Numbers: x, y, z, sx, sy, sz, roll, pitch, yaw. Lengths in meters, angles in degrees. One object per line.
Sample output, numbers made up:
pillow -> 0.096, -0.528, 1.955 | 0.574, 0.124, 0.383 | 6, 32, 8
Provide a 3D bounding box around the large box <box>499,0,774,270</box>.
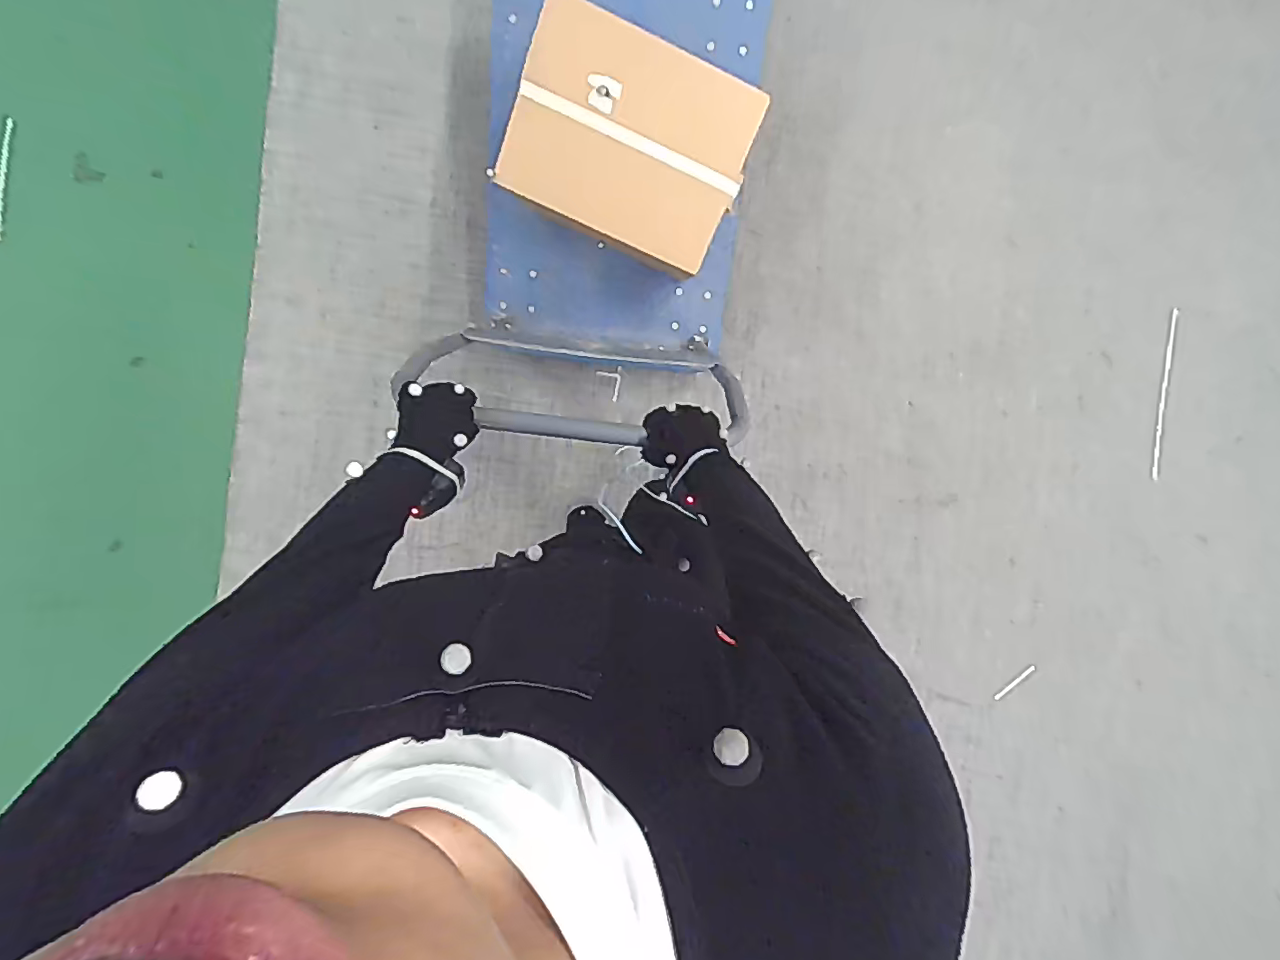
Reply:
large box -> -0.006, -0.645, 1.075 | 0.408, 0.320, 0.320 | 23, 108, -6
